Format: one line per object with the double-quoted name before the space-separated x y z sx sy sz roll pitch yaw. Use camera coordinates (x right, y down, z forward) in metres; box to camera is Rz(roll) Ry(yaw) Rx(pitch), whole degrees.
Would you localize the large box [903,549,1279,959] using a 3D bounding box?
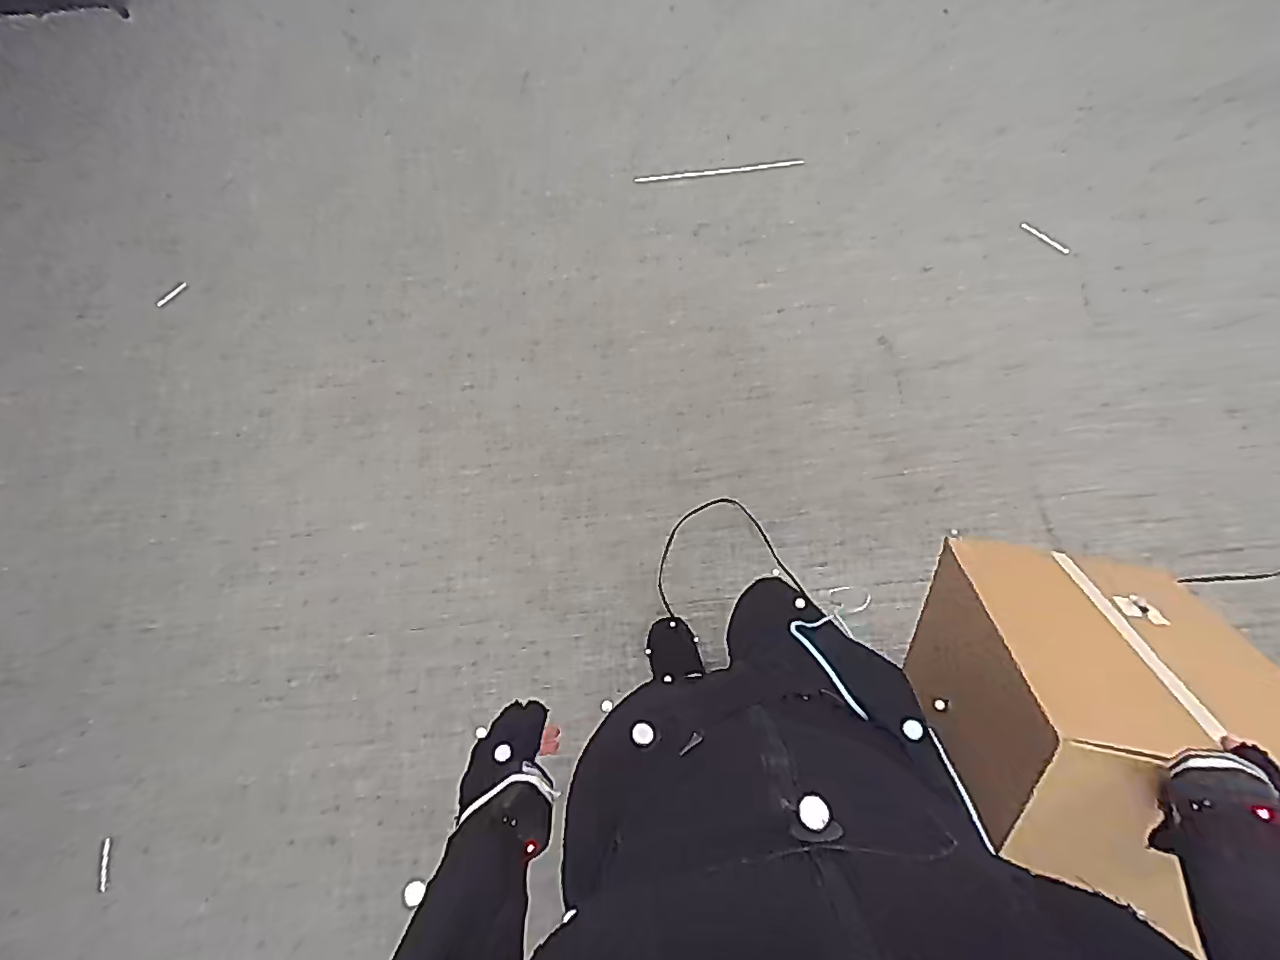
"large box" 0.589 0.344 0.726 0.320 0.408 0.320 10 114 10
